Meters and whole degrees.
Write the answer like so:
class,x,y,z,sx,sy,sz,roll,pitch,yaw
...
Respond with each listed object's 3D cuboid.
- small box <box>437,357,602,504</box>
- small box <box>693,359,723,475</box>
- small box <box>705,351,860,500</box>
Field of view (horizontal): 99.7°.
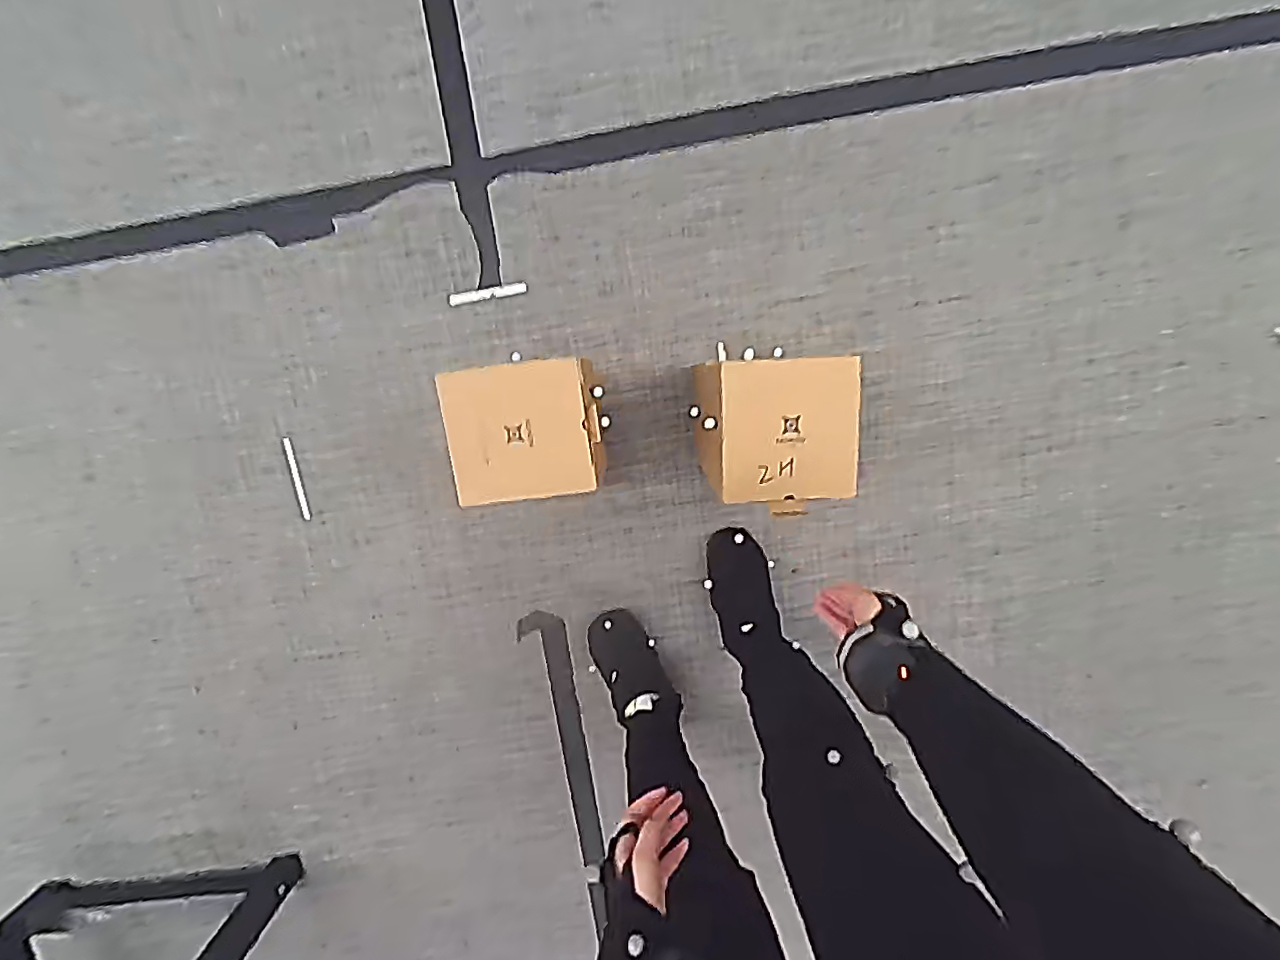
class,x,y,z,sx,sy,sz,roll,pitch,yaw
small box,-0.146,-0.073,0.727,0.179,0.176,0.168,-6,100,2
small box,0.178,-0.110,0.889,0.168,0.176,0.179,-2,100,0
small box,0.179,-0.077,0.728,0.168,0.176,0.179,-2,101,0
